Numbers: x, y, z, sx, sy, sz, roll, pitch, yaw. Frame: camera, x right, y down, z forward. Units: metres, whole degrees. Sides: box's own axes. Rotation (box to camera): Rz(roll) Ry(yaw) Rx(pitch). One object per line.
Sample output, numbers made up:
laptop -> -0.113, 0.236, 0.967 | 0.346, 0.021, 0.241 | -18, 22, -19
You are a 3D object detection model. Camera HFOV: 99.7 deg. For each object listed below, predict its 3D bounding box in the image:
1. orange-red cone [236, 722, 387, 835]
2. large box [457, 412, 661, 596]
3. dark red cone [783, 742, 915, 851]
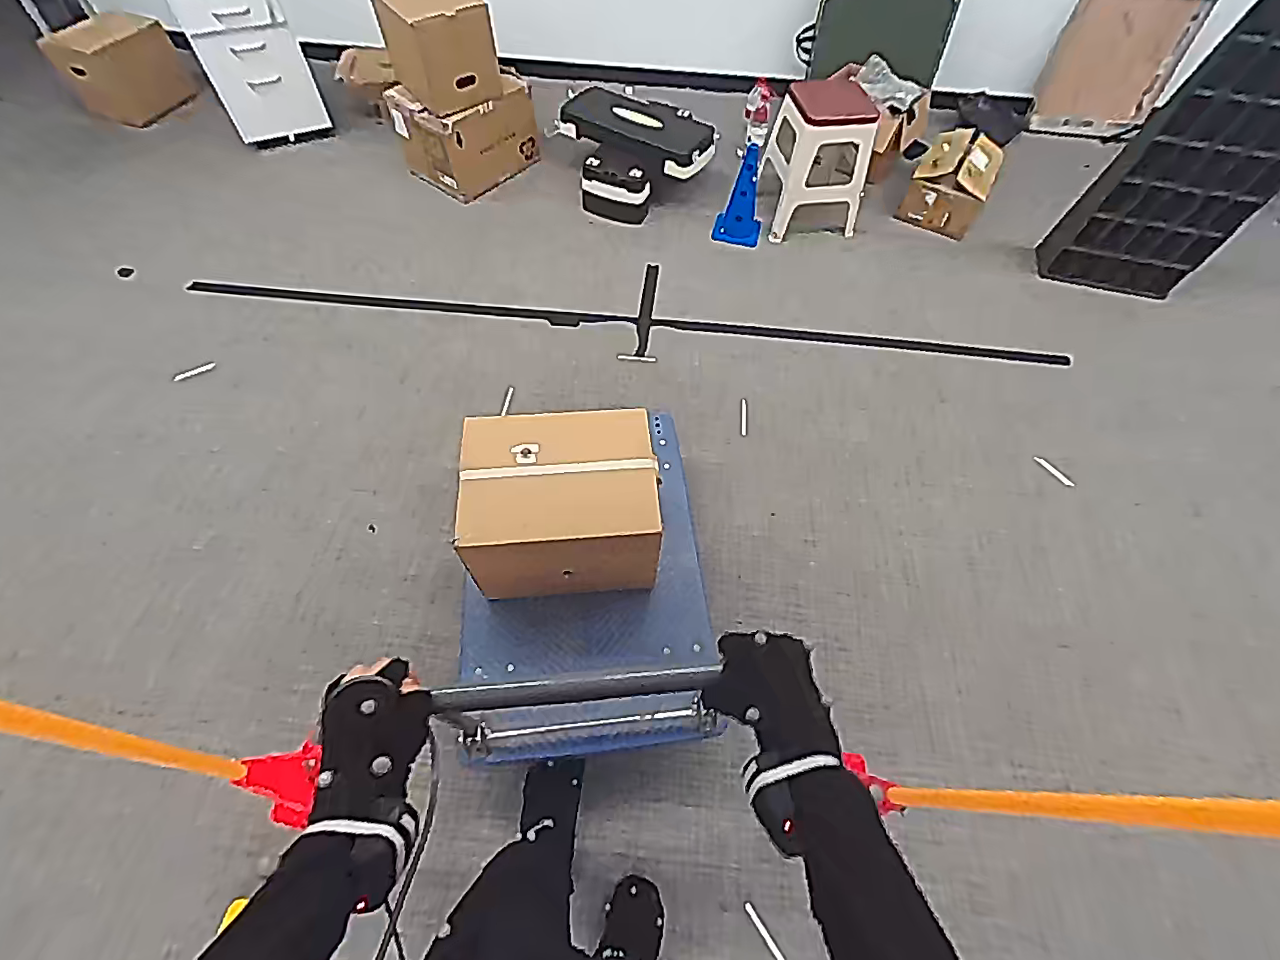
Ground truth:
orange-red cone -> -0.696, 0.585, 1.090 | 0.198, 0.360, 0.199 | 13, 57, 5
large box -> -0.173, 0.065, 1.257 | 0.408, 0.320, 0.320 | -3, 59, -4
dark red cone -> 0.437, 0.627, 1.087 | 0.201, 0.394, 0.202 | 7, 59, 0
